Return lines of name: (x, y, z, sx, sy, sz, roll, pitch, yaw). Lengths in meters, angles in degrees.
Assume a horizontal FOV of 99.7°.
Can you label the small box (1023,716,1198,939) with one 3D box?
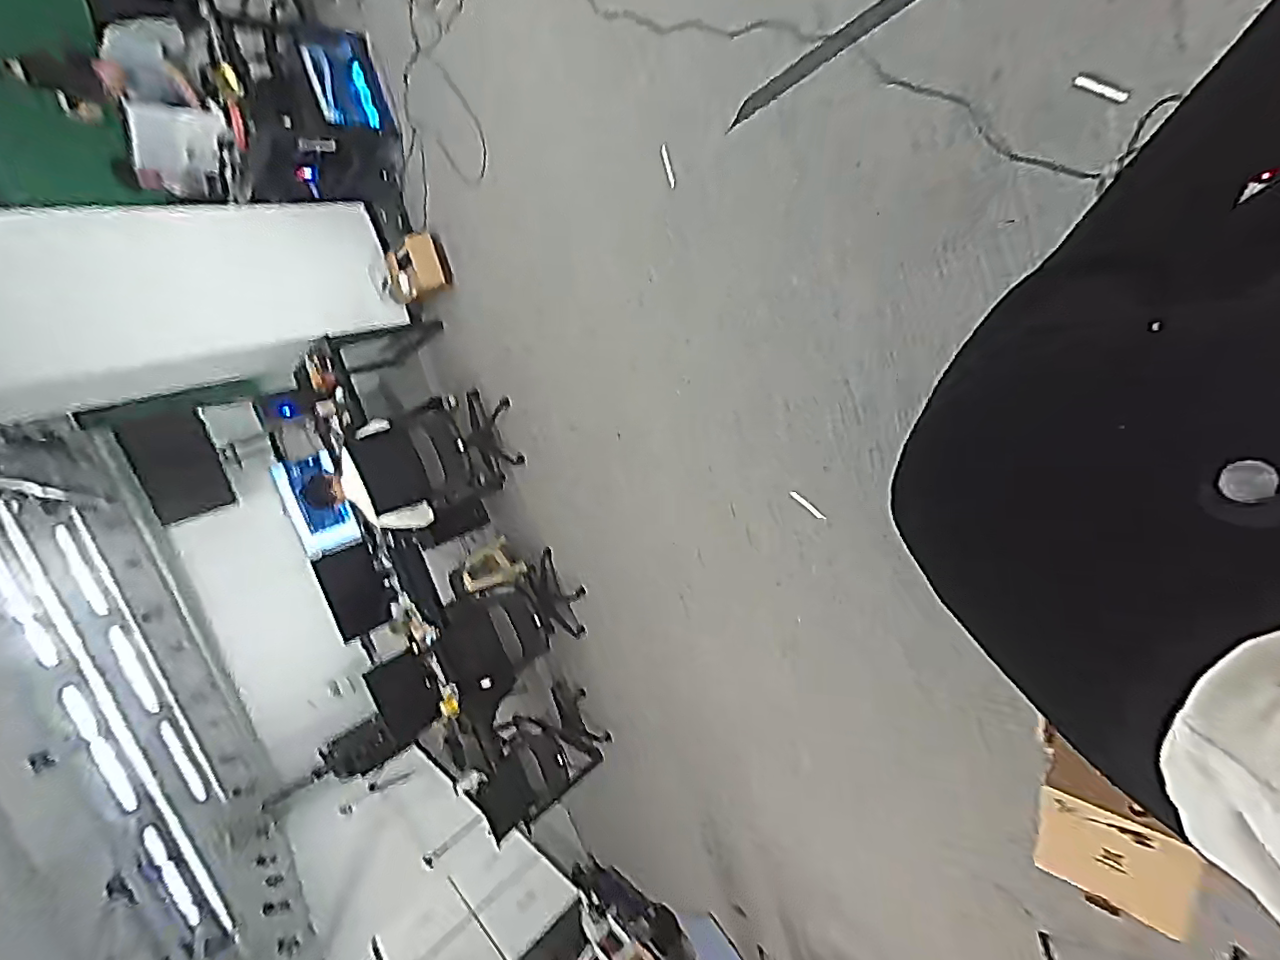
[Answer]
small box: (0.689, 0.495, 0.795, 0.168, 0.176, 0.179, 11, 120, 44)
